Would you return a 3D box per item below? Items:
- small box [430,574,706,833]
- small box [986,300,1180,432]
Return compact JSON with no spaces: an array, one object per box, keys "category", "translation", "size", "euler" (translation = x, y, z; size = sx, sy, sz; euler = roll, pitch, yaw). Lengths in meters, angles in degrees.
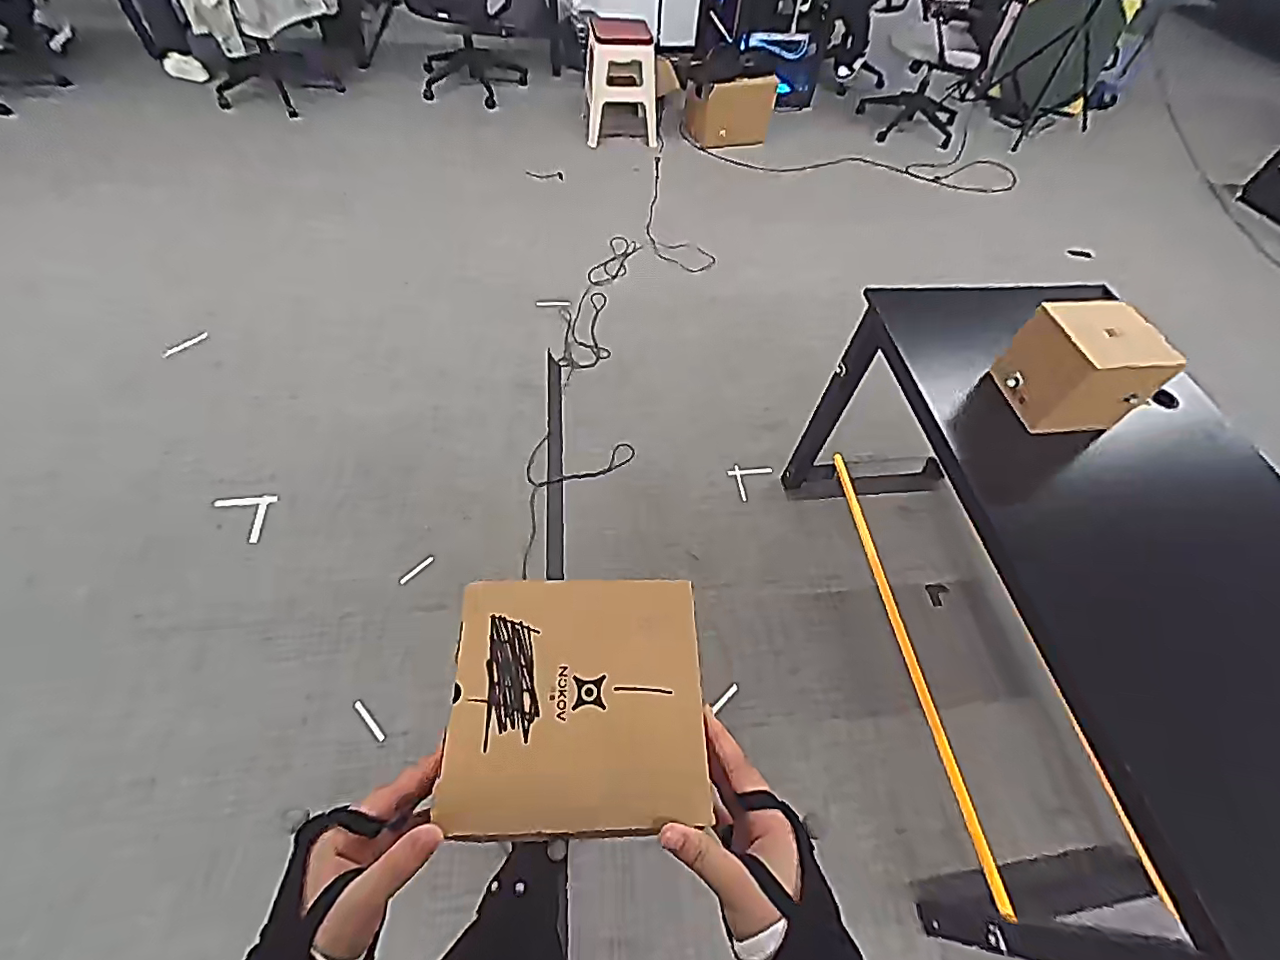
[{"category":"small box","translation":[-0.050,0.188,0.447],"size":[0.179,0.176,0.168],"euler":[0,56,-4]},{"category":"small box","translation":[0.788,-0.204,0.985],"size":[0.179,0.176,0.168],"euler":[-6,55,-7]}]
